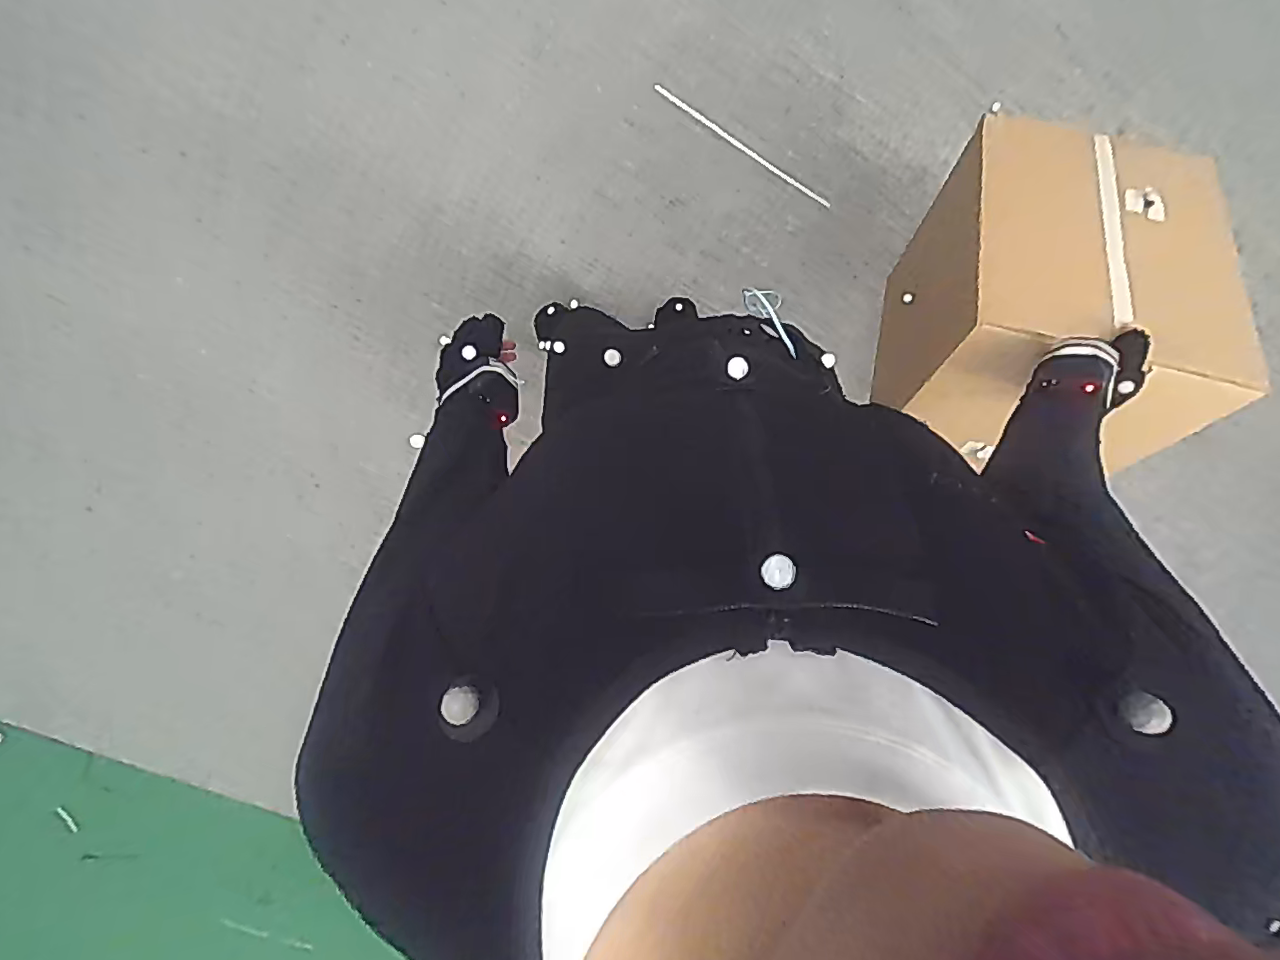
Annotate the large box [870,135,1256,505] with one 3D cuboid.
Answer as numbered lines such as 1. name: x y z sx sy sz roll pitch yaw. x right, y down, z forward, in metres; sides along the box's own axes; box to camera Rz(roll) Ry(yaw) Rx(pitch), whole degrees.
1. large box: 0.575 -0.227 0.820 0.320 0.320 0.408 17 64 4
